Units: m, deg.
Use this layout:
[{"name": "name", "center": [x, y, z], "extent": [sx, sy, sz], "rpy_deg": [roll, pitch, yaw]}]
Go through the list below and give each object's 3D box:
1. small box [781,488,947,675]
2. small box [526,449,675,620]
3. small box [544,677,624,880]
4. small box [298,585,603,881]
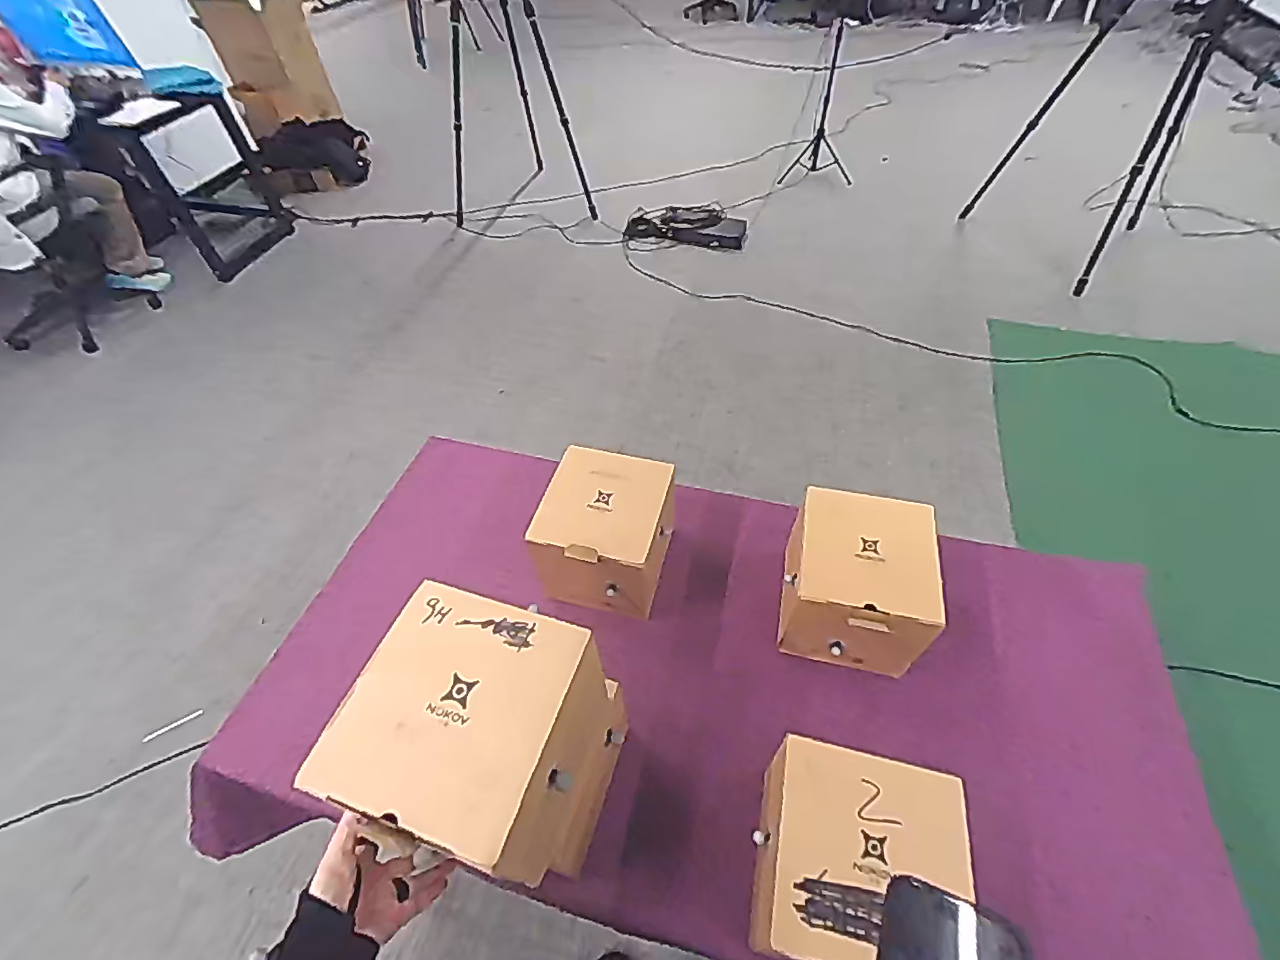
[{"name": "small box", "center": [0.293, 0.140, 0.740], "extent": [0.168, 0.176, 0.179], "rpy_deg": [9, 52, 11]}, {"name": "small box", "center": [-0.047, 0.084, 0.806], "extent": [0.168, 0.176, 0.179], "rpy_deg": [12, 52, 11]}, {"name": "small box", "center": [-0.122, 0.319, 0.614], "extent": [0.168, 0.176, 0.179], "rpy_deg": [13, 52, 14]}, {"name": "small box", "center": [-0.139, 0.226, 0.479], "extent": [0.168, 0.176, 0.179], "rpy_deg": [13, 53, 13]}]
